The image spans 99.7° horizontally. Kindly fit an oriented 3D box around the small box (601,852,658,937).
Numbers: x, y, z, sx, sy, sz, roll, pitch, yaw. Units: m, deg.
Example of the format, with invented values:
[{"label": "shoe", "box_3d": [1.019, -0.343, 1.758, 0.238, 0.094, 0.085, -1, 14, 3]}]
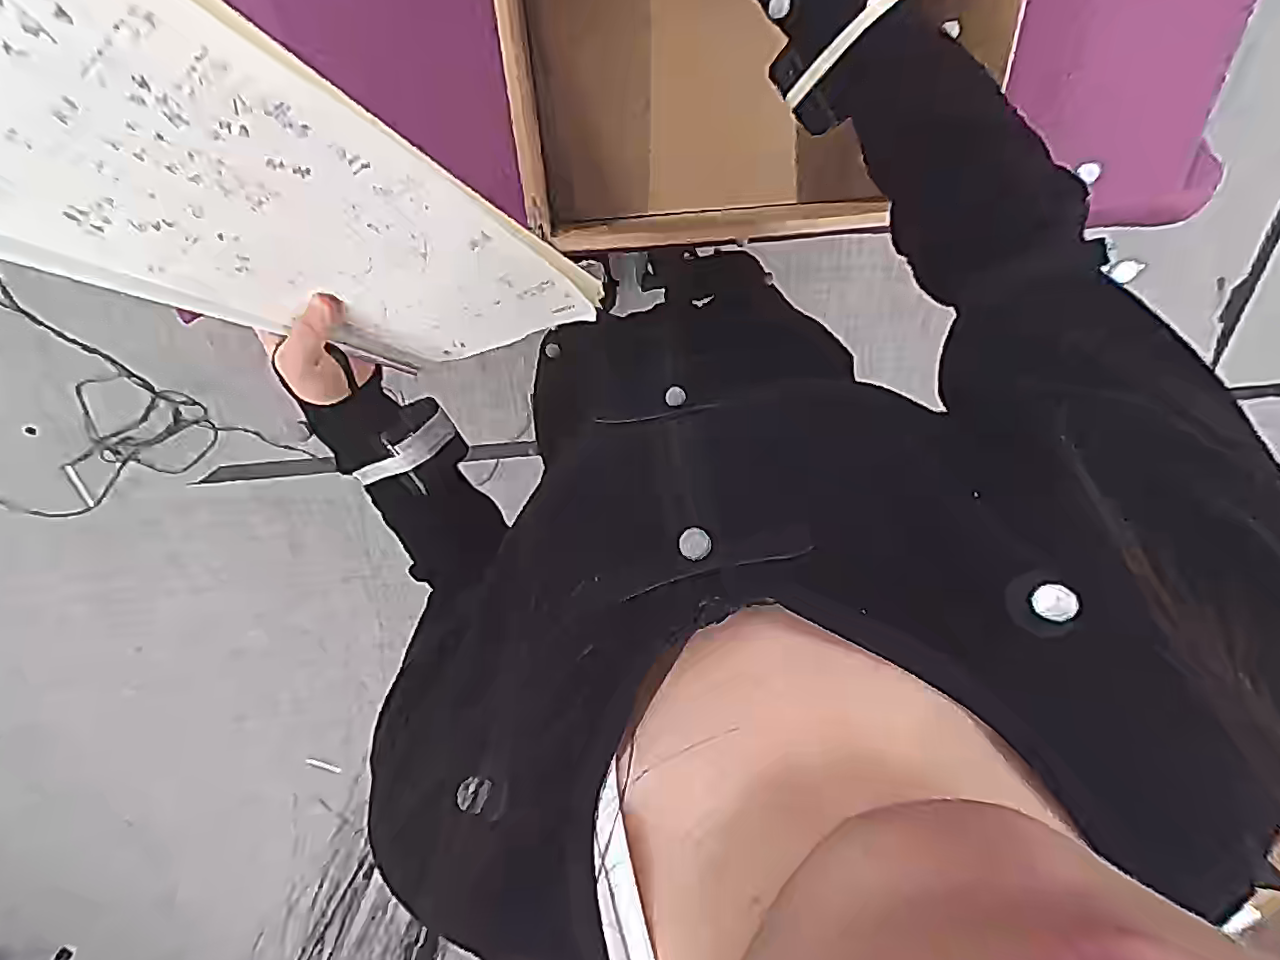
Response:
[{"label": "small box", "box_3d": [-0.041, 1.380, 1.806, 0.179, 0.176, 0.168, -3, 122, -8]}]
